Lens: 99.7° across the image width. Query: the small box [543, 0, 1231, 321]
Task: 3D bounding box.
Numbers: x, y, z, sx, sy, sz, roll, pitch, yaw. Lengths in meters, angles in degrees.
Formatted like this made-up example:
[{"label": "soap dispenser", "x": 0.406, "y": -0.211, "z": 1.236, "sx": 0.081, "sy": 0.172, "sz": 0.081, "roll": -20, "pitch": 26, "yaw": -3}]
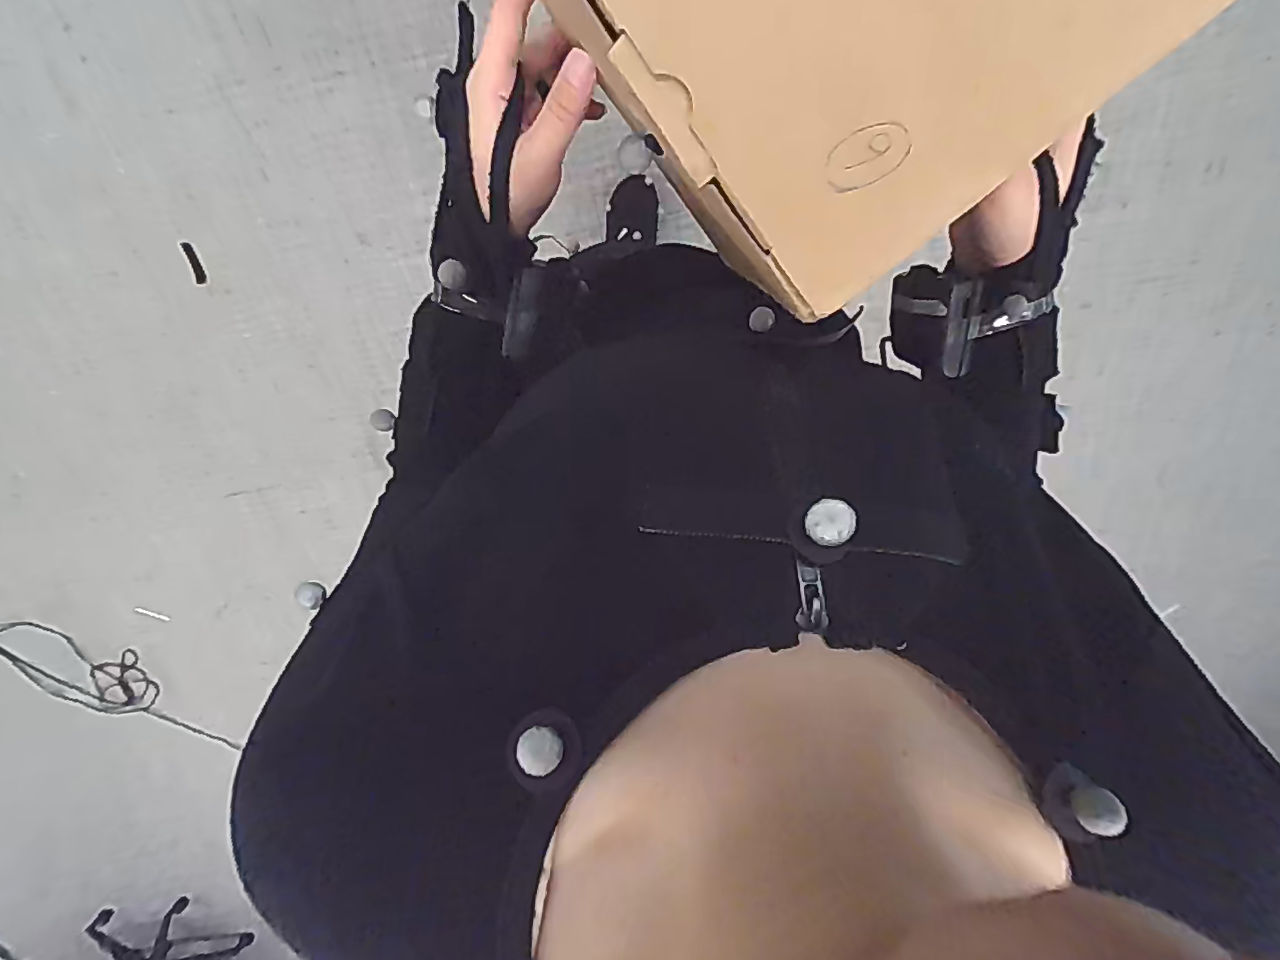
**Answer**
[{"label": "small box", "x": 0.069, "y": -0.193, "z": 0.209, "sx": 0.179, "sy": 0.176, "sz": 0.168, "roll": -37, "pitch": 111, "yaw": 17}]
